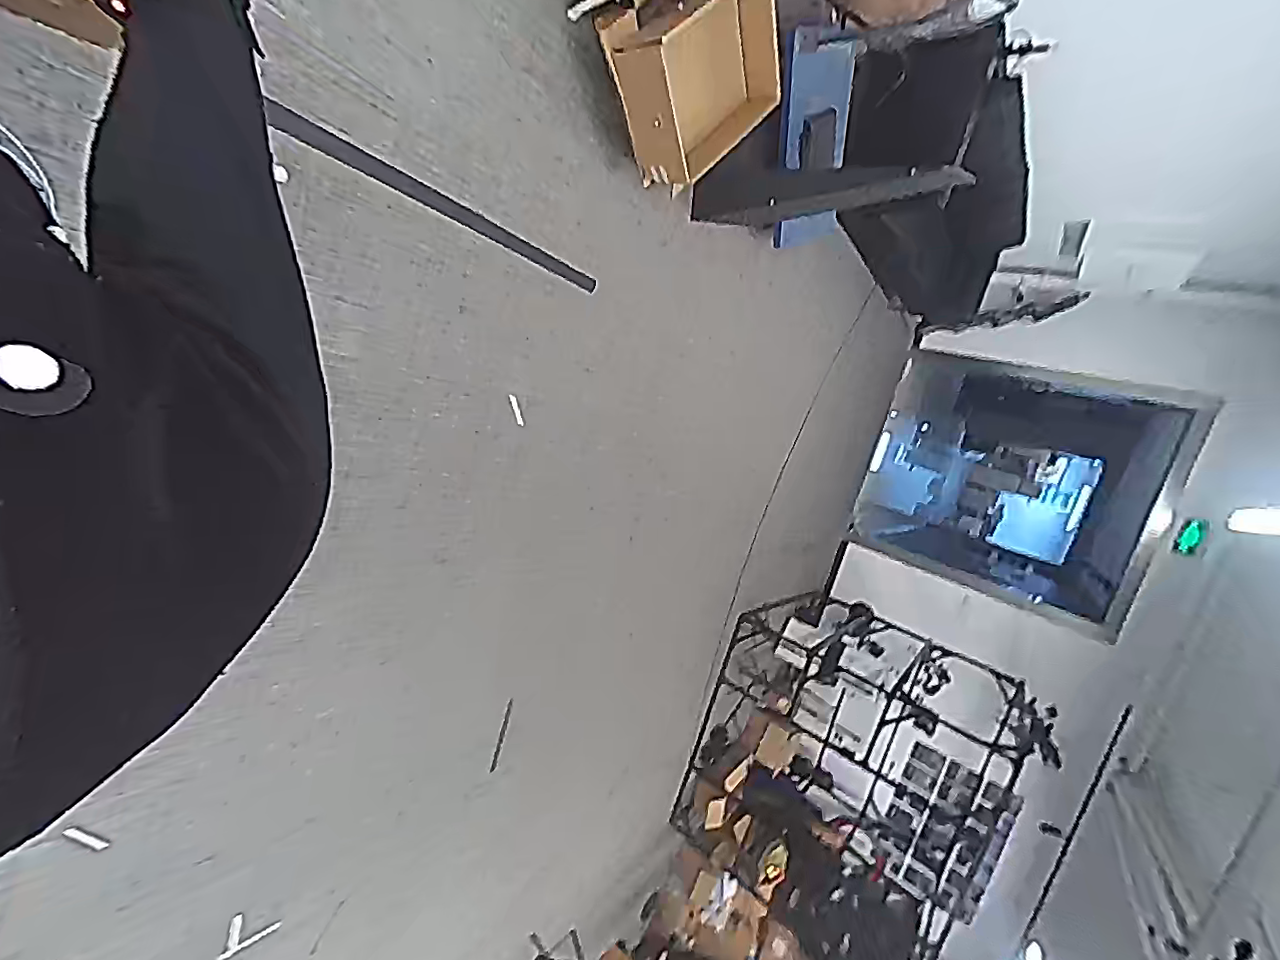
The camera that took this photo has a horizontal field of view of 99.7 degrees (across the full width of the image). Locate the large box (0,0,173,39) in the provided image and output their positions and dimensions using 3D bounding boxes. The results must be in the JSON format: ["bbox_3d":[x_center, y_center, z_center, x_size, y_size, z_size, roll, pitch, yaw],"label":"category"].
[{"bbox_3d":[-0.590,-0.561,0.337,0.408,0.320,0.320,-7,121,-52],"label":"large box"}]
